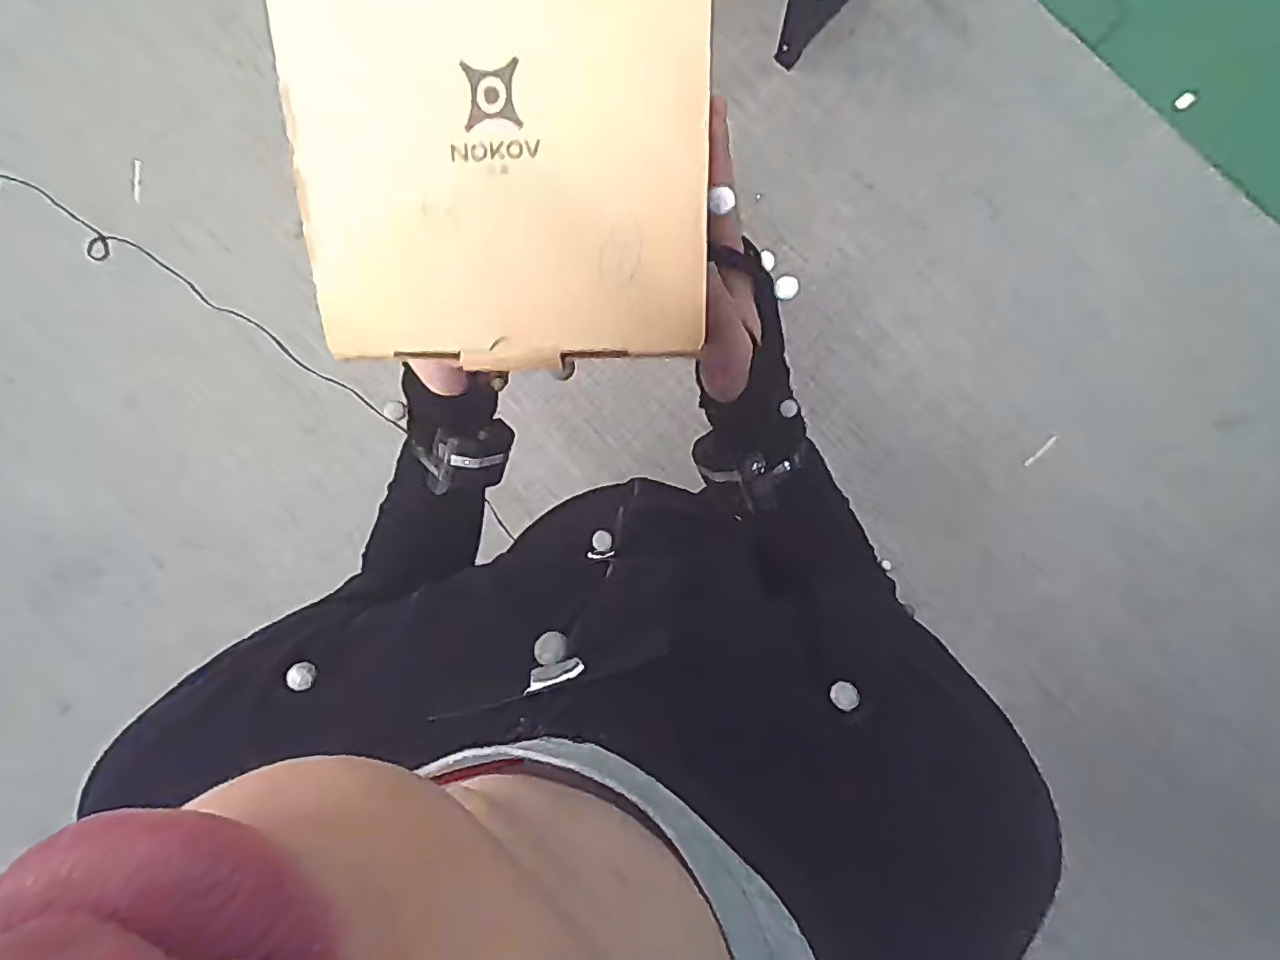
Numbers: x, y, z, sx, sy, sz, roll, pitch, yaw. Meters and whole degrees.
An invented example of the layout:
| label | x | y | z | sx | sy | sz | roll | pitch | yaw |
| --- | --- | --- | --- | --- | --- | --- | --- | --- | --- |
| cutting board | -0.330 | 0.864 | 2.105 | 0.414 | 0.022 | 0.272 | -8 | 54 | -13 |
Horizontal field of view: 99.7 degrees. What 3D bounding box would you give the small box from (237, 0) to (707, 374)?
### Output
| label | x | y | z | sx | sy | sz | roll | pitch | yaw |
| --- | --- | --- | --- | --- | --- | --- | --- | --- | --- |
| small box | -0.052 | -0.152 | 0.272 | 0.168 | 0.176 | 0.179 | 1 | 107 | 4 |
